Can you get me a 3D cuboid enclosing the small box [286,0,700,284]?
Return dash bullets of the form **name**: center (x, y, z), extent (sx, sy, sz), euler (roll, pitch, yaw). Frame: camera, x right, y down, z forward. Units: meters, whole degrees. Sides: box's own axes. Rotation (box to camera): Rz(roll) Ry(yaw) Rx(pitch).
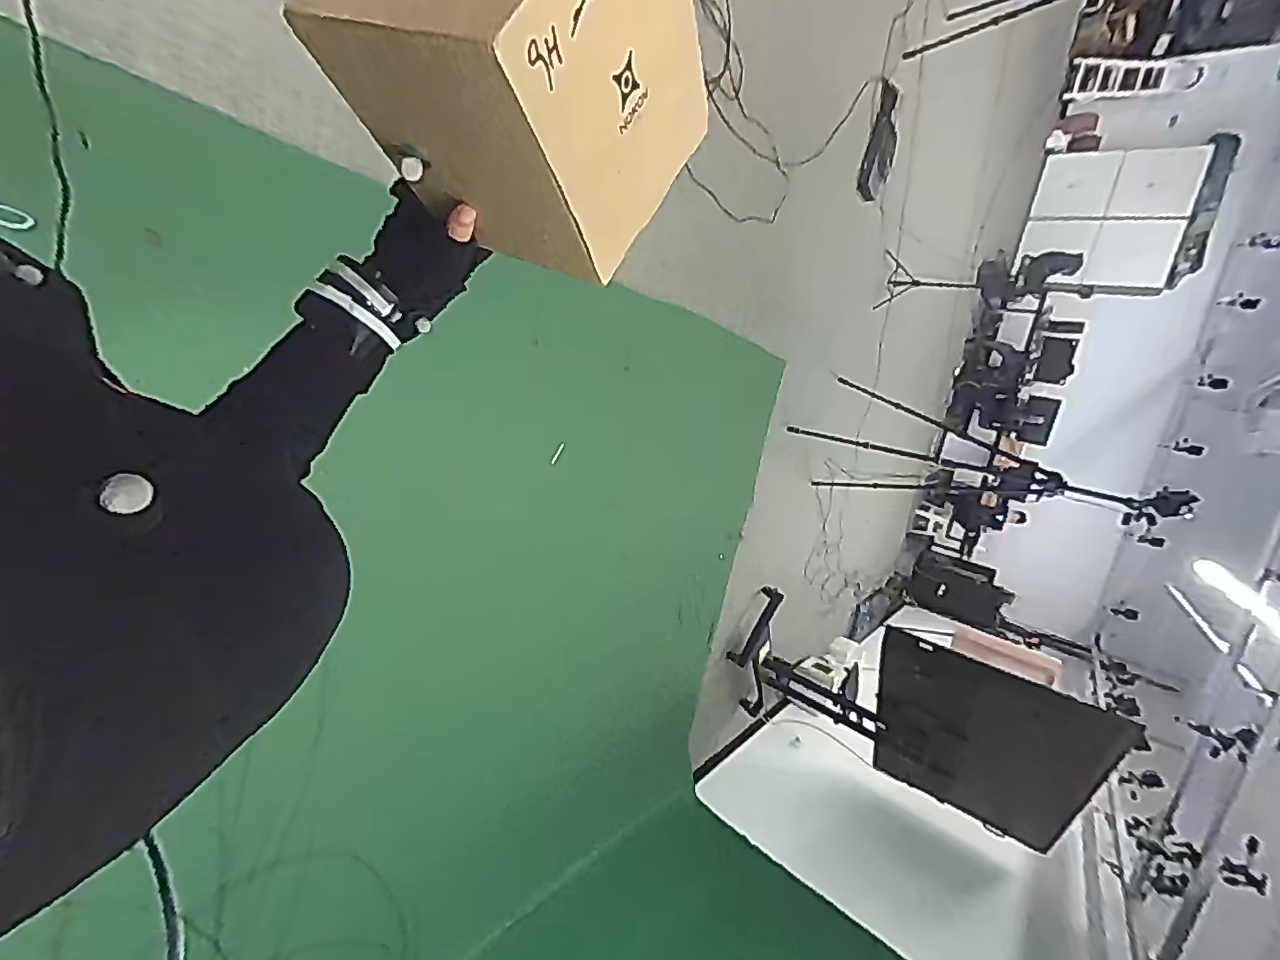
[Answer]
- **small box**: center (-0.079, -0.274, 0.367), extent (0.168, 0.176, 0.179), euler (-61, 160, -11)
